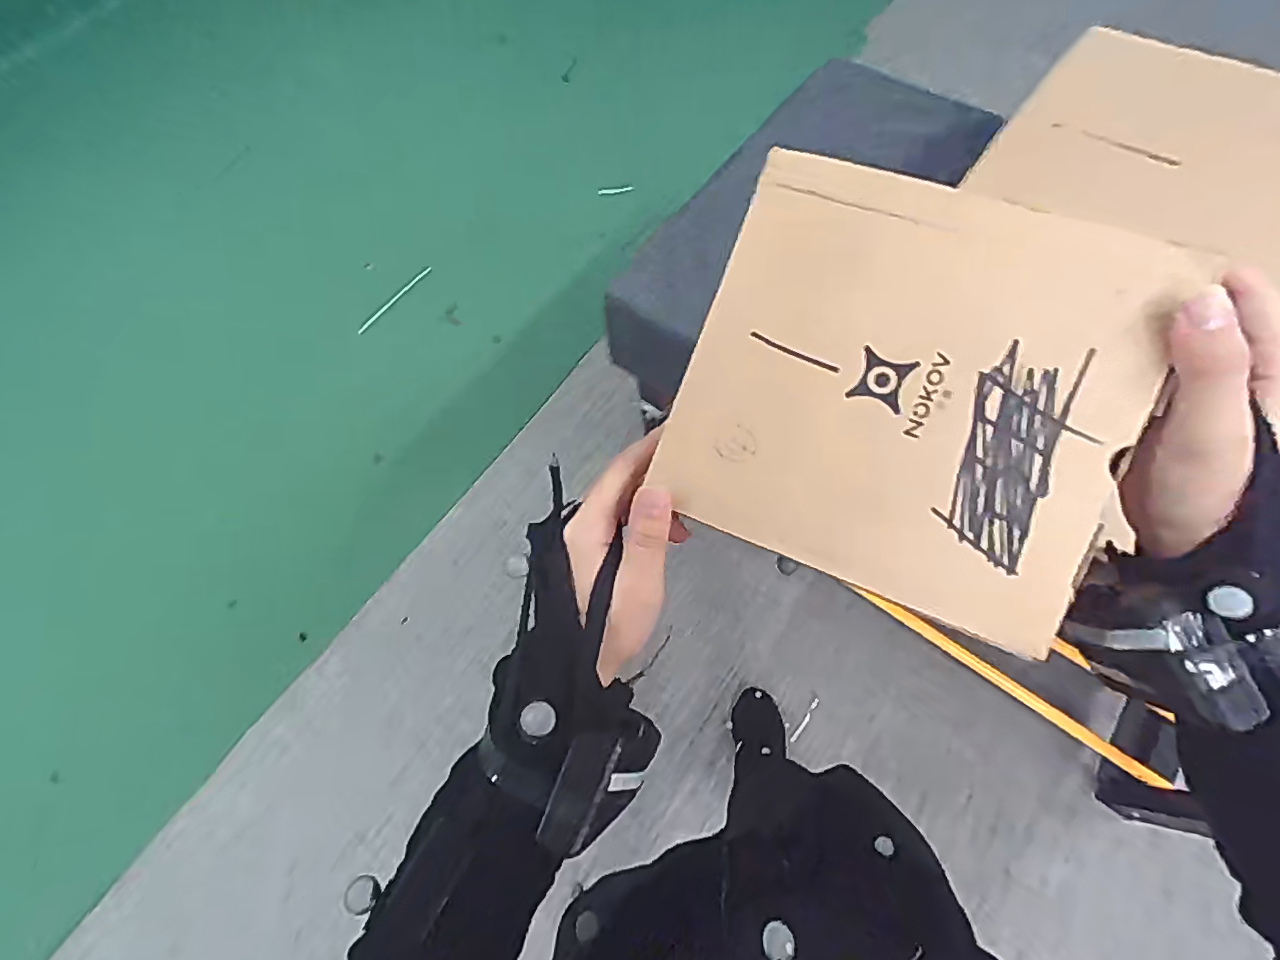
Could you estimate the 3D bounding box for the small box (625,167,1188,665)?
[{"bbox_3d":[0.117,-0.031,0.304,0.179,0.176,0.168,22,94,12],"label":"small box"}]
